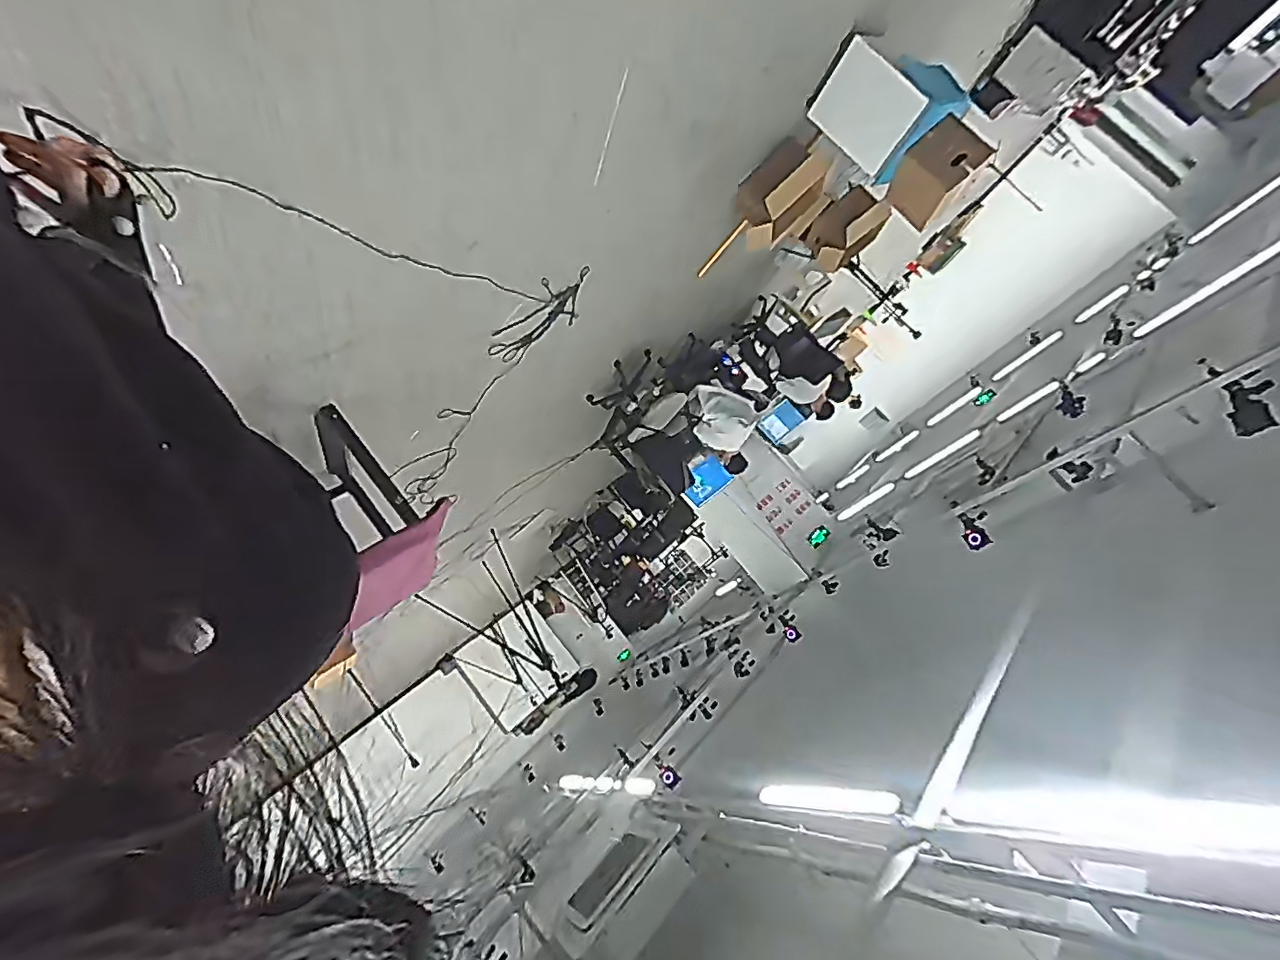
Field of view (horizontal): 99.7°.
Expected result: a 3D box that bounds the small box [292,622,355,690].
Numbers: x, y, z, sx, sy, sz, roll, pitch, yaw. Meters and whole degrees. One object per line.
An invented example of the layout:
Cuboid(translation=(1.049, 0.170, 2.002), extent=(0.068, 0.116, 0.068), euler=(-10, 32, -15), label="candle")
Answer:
Cuboid(translation=(-1.250, 0.682, 2.118), extent=(0.168, 0.176, 0.179), euler=(-31, 167, -44), label="small box")

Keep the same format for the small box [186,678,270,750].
Cuboid(translation=(-1.469, 0.834, 1.931), extent=(0.168, 0.176, 0.179), euler=(-35, 171, -32), label="small box")
